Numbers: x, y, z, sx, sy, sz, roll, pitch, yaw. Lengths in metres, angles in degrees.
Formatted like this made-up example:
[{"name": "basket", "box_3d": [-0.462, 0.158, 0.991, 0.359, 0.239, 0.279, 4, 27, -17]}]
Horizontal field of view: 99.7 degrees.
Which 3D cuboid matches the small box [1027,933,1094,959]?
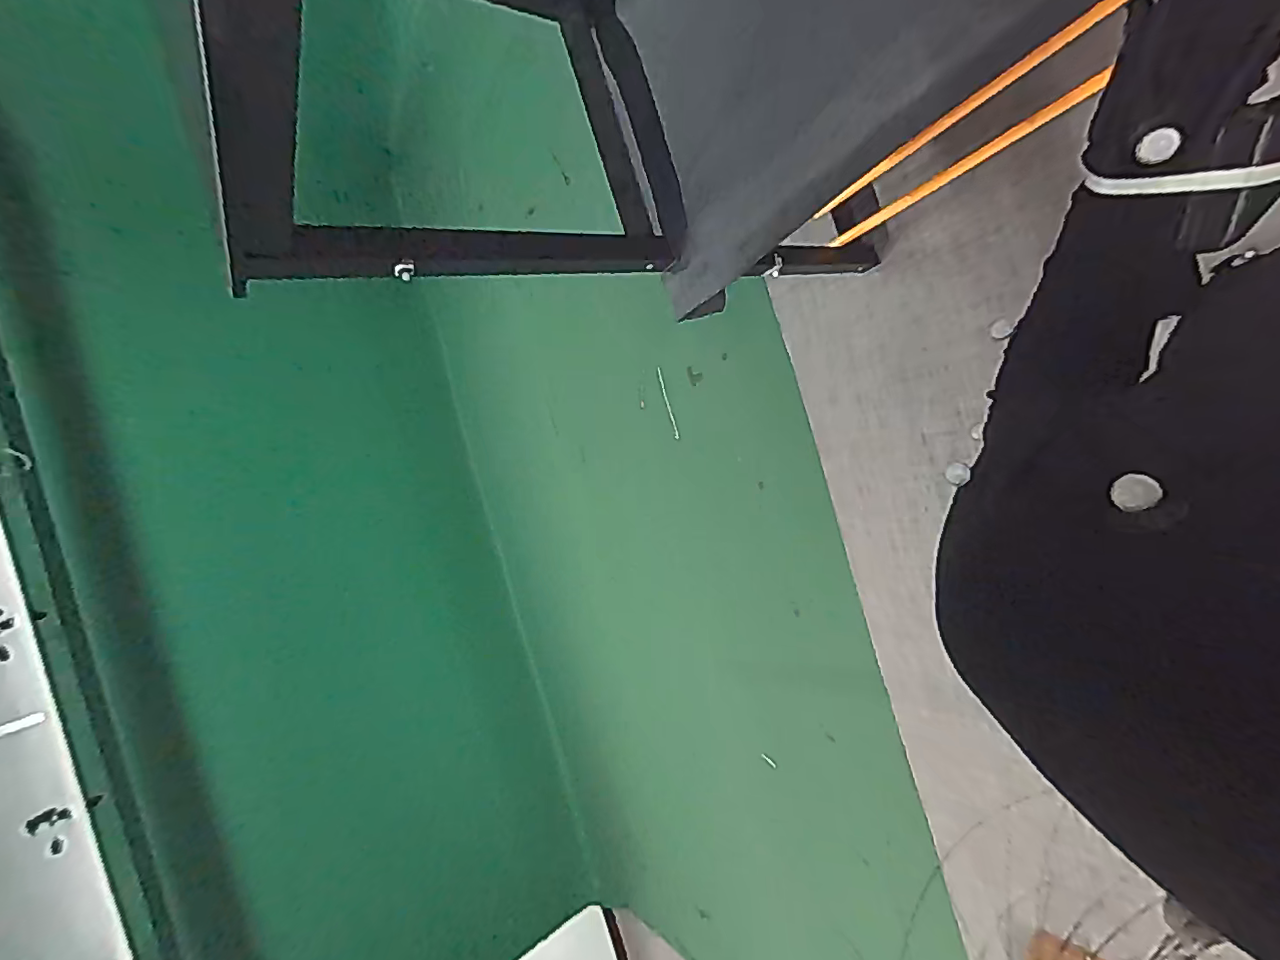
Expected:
[{"name": "small box", "box_3d": [1.162, 1.395, 1.460, 0.168, 0.176, 0.179, -13, 93, 55]}]
